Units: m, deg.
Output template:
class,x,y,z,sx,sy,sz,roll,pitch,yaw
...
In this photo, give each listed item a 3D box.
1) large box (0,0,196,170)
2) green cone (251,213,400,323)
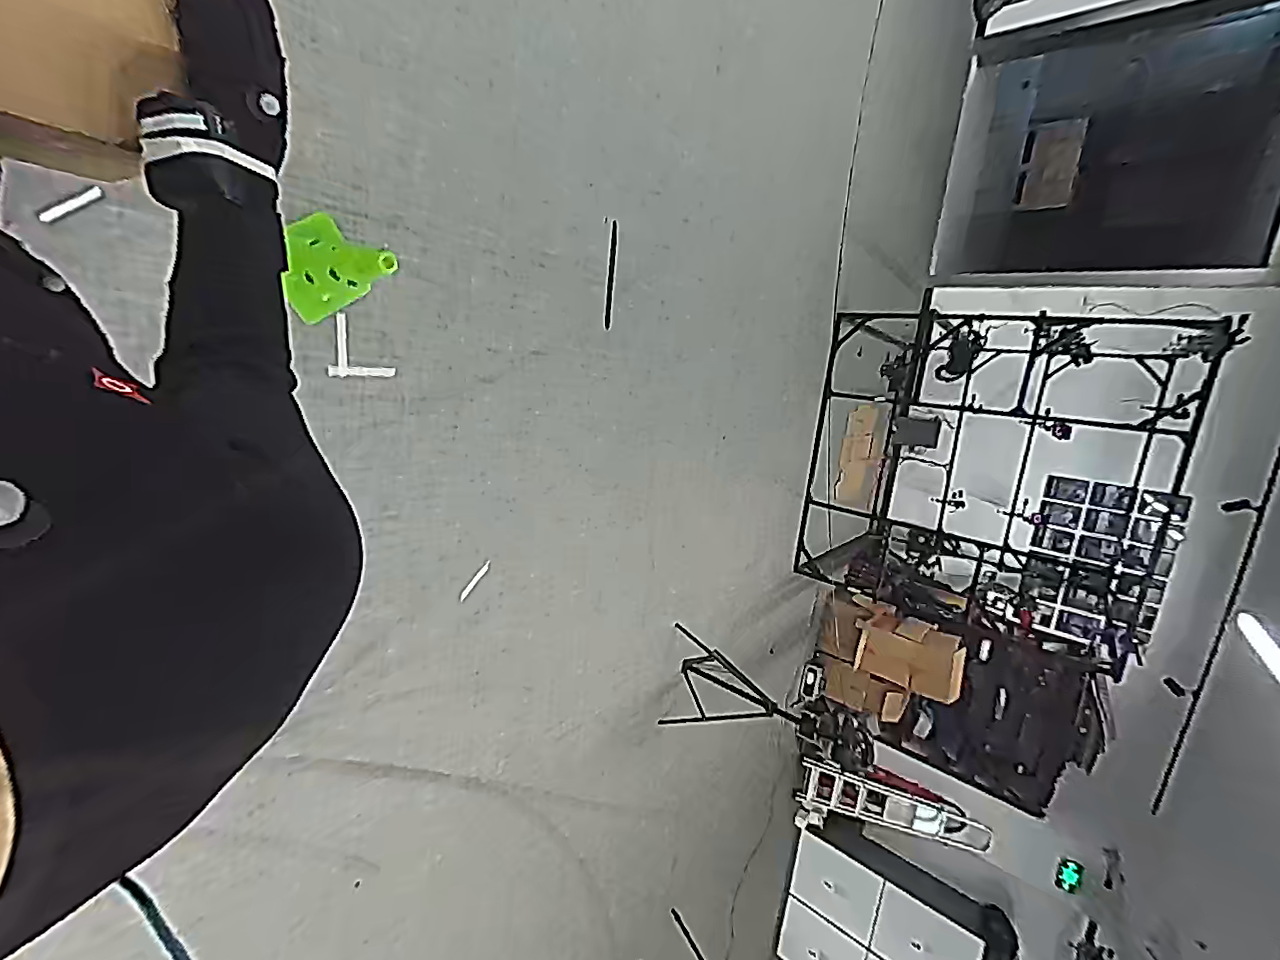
class,x,y,z,sx,sy,sz,roll,pitch,yaw
large box,-0.556,-0.417,0.308,0.408,0.320,0.320,-8,113,-52
green cone,-0.648,-0.472,1.196,0.202,0.368,0.200,-51,138,-31
